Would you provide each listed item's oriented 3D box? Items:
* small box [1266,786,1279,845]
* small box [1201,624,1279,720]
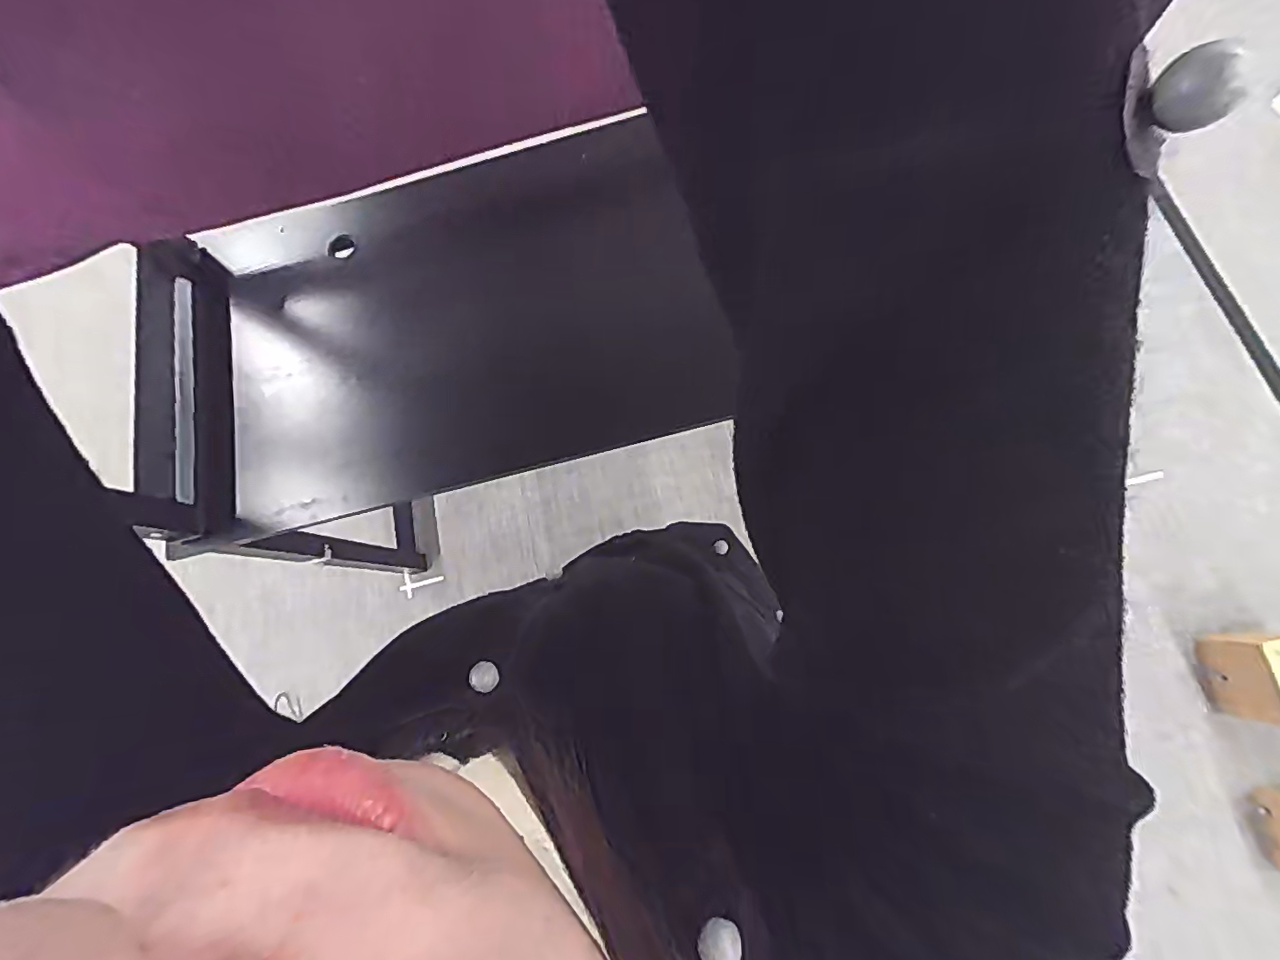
[{"bbox_3d":[1.474,0.741,1.115,0.179,0.176,0.168,-9,76,4],"label":"small box"},{"bbox_3d":[1.423,0.422,1.195,0.168,0.176,0.179,-9,77,5],"label":"small box"}]
